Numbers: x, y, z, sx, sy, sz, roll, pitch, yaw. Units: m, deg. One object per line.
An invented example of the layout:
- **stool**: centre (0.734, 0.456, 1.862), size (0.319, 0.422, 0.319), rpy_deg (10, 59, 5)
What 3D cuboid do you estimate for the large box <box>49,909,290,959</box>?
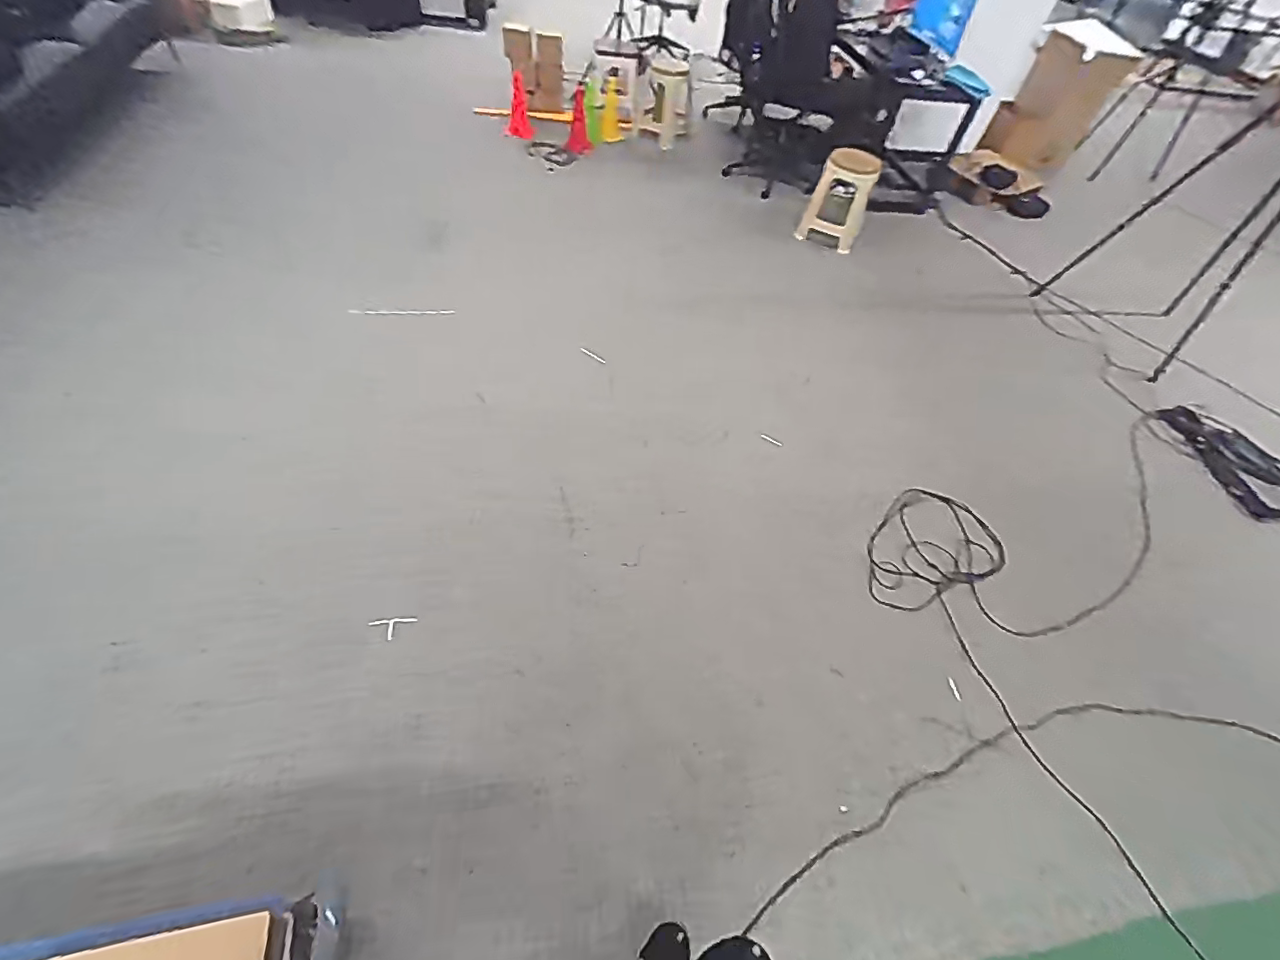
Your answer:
- **large box**: centre (-0.789, 0.889, 0.805), size (0.408, 0.320, 0.320), rpy_deg (2, 51, -23)
